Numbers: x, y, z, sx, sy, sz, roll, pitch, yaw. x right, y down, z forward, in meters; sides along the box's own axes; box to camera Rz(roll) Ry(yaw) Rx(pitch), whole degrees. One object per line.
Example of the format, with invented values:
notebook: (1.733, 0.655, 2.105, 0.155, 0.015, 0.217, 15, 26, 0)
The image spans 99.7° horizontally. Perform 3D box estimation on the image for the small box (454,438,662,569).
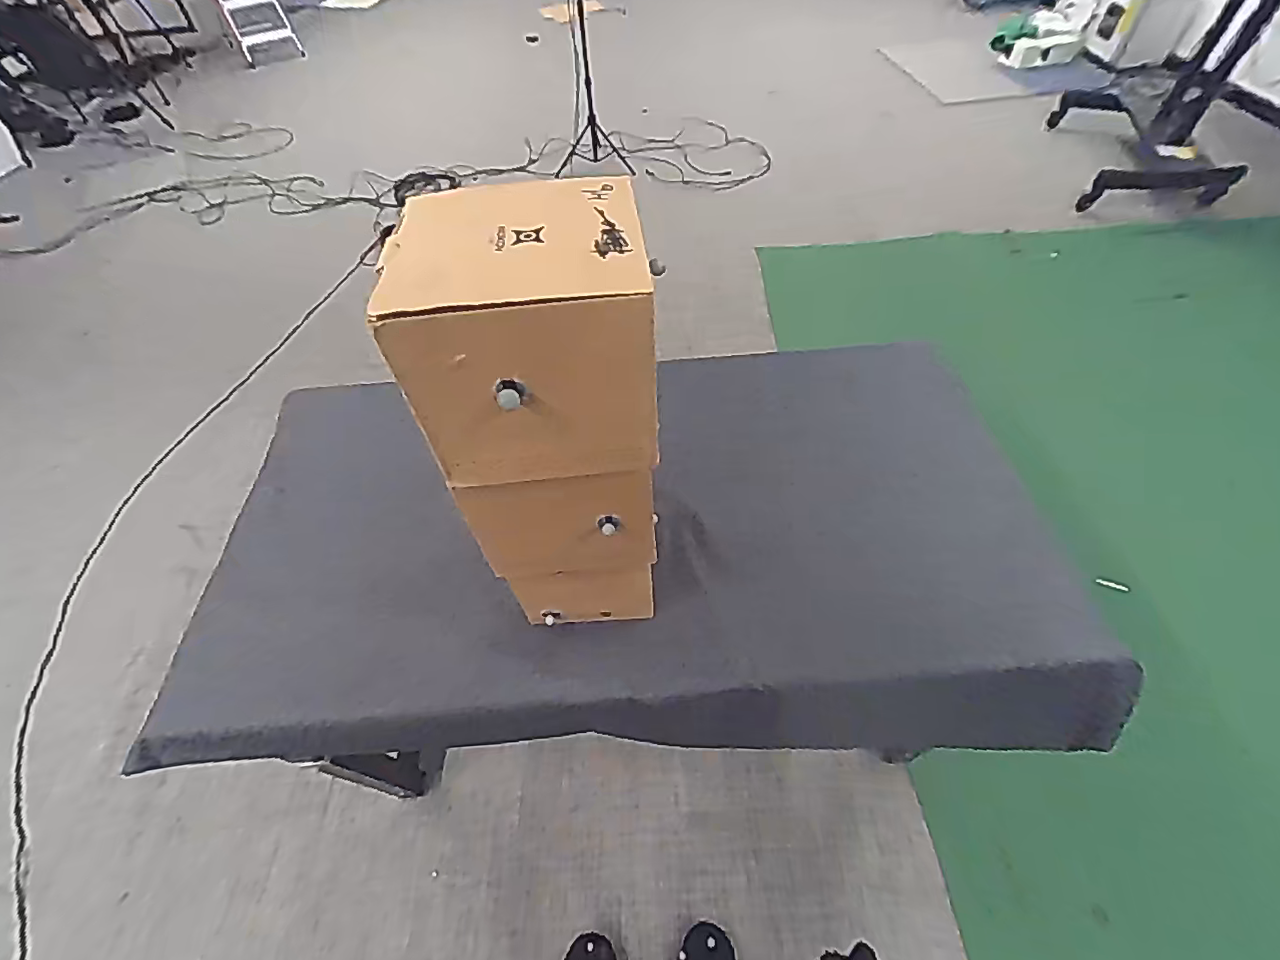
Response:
small box: (-0.076, -0.025, 0.560, 0.179, 0.176, 0.168, -7, 53, -3)

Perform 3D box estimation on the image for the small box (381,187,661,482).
small box: (-0.080, -0.114, 0.446, 0.179, 0.176, 0.168, -8, 51, -4)

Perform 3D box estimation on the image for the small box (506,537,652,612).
small box: (-0.071, 0.066, 0.714, 0.168, 0.176, 0.179, -3, 52, 1)
